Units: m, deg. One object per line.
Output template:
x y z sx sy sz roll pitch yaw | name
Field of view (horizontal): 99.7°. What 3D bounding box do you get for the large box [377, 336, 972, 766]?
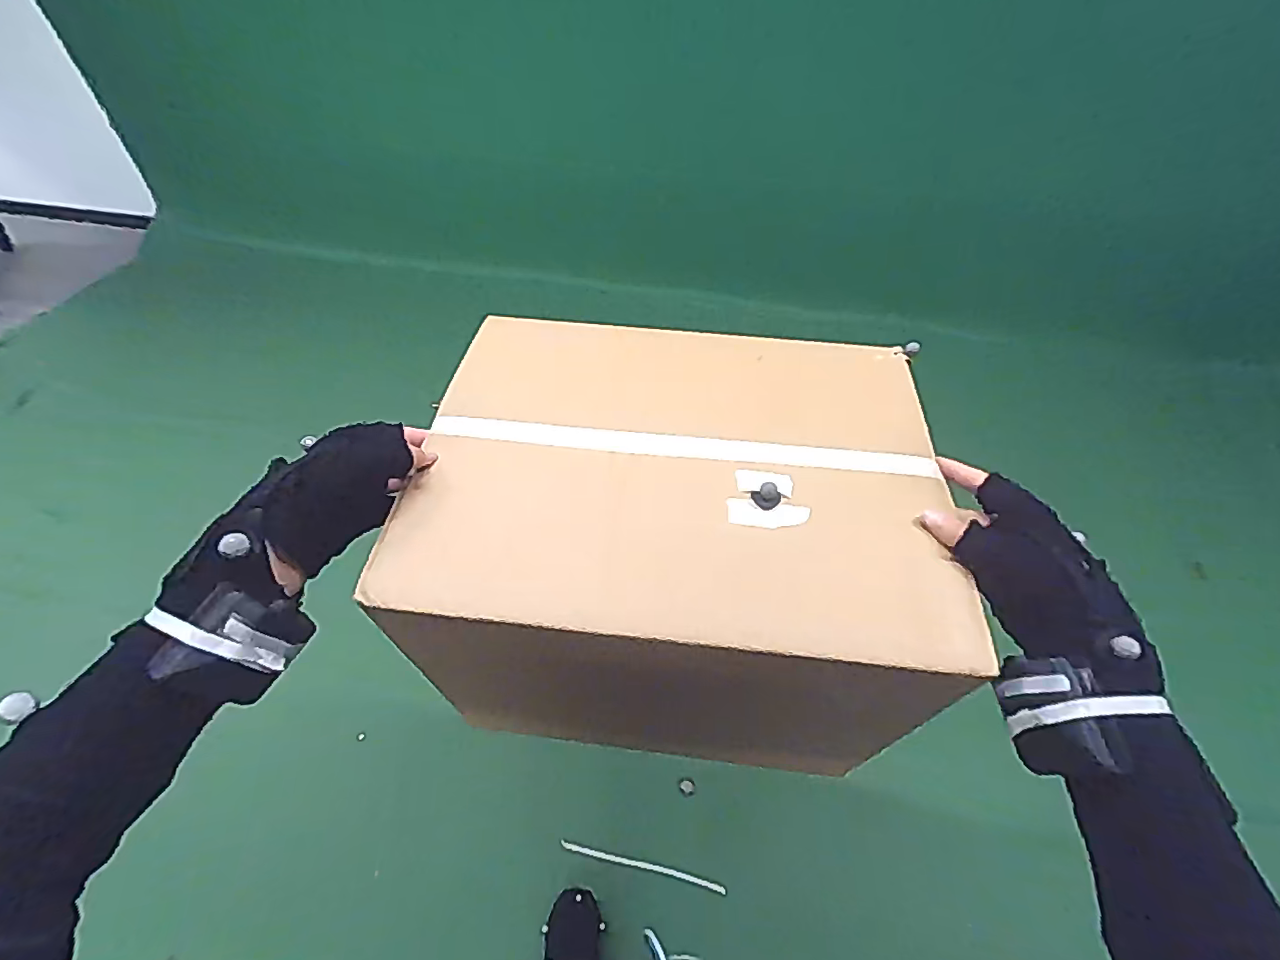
0.029 0.078 0.562 0.408 0.320 0.320 5 52 4 | large box
